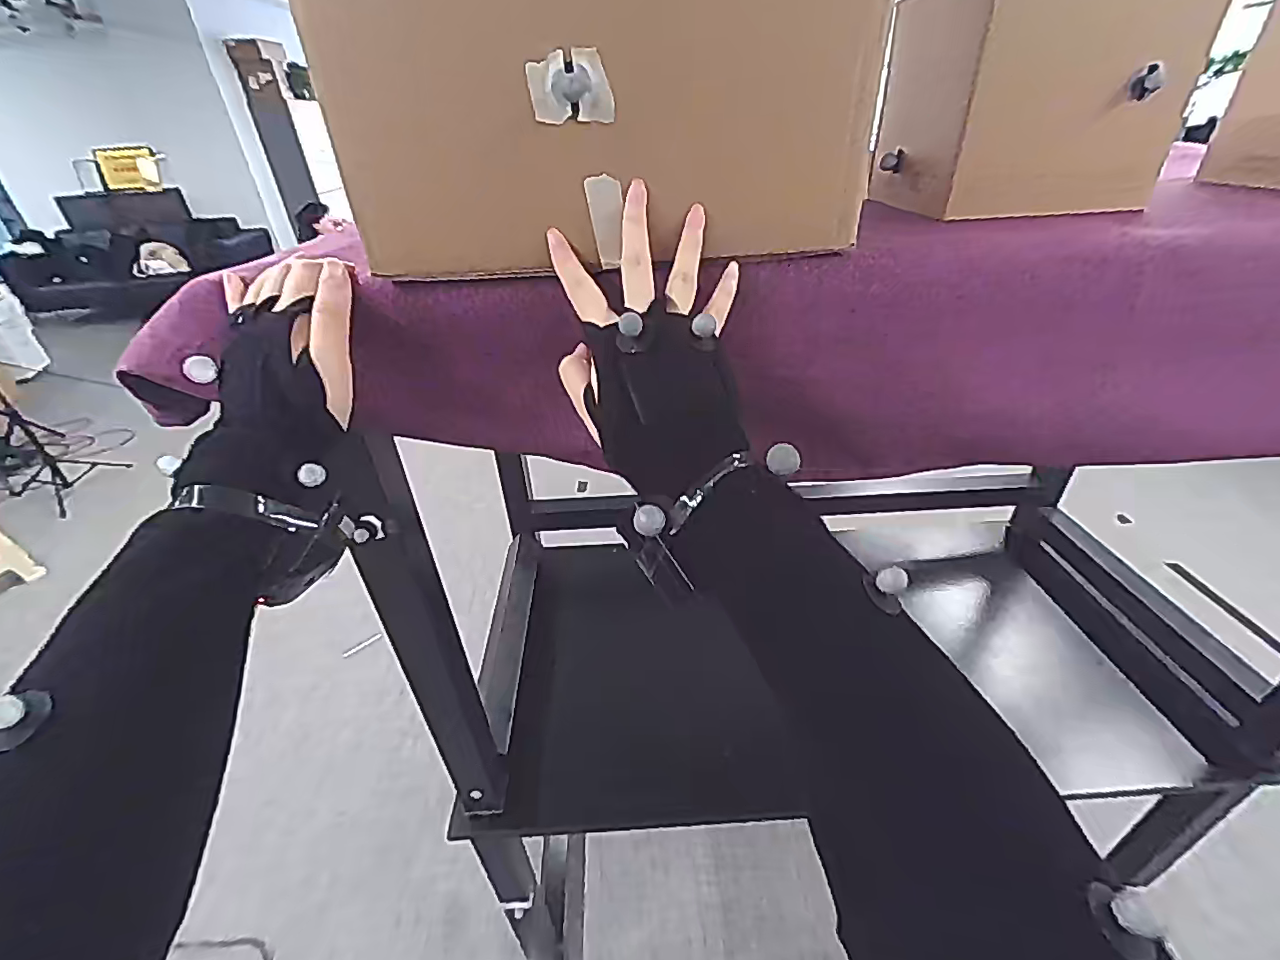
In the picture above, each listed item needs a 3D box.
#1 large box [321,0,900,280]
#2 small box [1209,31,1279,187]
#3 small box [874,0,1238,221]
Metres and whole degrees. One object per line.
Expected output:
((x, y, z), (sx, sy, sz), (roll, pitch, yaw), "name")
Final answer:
((-0.031, -0.365, 0.426), (0.320, 0.320, 0.408), (-4, 32, -3), "large box")
((0.689, -0.354, 0.475), (0.179, 0.176, 0.168), (-2, 32, 1), "small box")
((0.334, -0.333, 0.474), (0.179, 0.176, 0.168), (-3, 32, 0), "small box")
